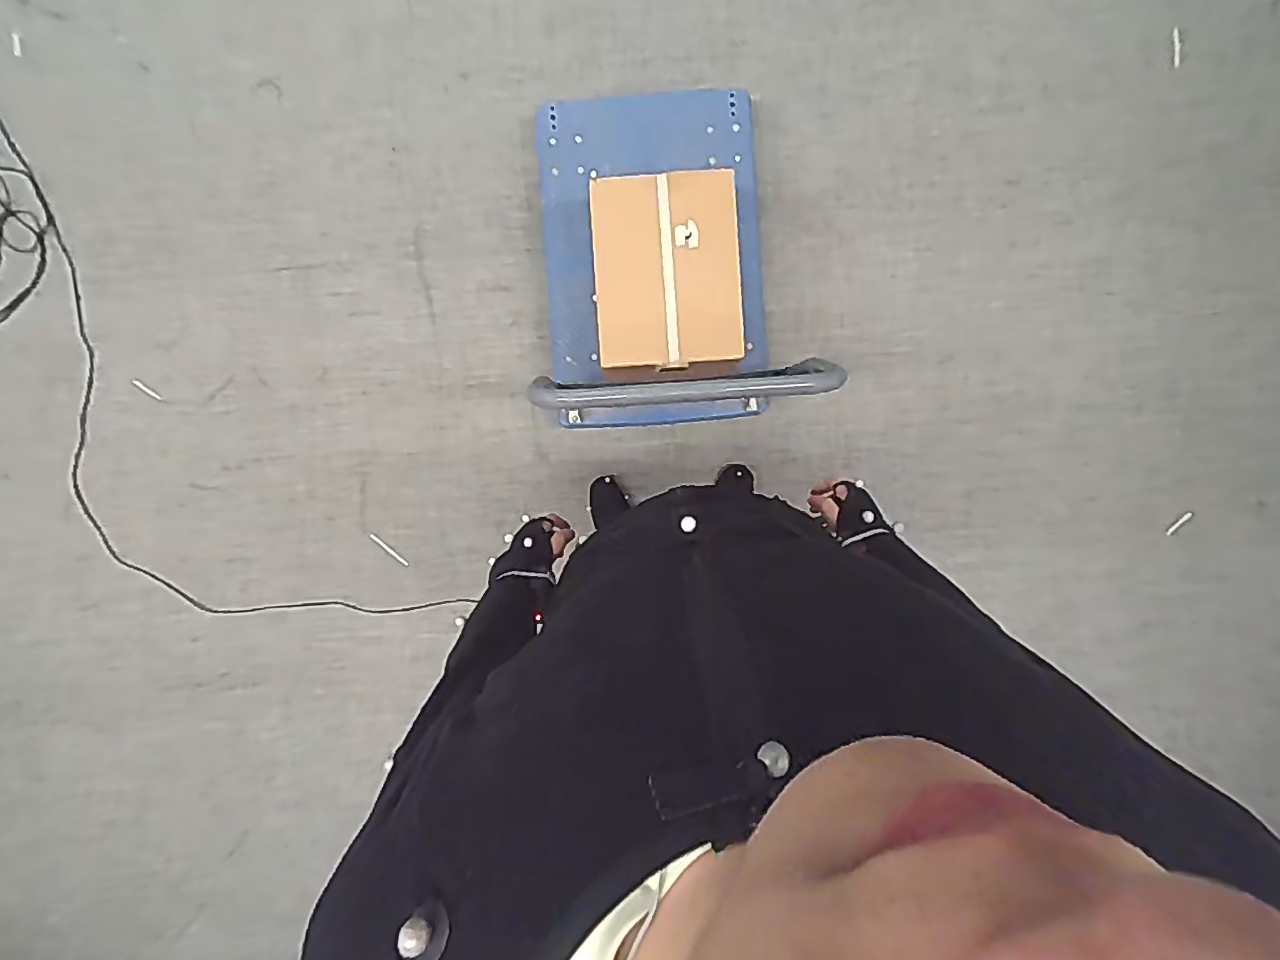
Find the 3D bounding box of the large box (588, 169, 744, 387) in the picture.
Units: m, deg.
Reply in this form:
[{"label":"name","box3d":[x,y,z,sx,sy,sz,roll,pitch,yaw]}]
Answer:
[{"label":"large box","box3d":[0.057,-0.458,1.305,0.320,0.320,0.408,-4,91,0]}]
